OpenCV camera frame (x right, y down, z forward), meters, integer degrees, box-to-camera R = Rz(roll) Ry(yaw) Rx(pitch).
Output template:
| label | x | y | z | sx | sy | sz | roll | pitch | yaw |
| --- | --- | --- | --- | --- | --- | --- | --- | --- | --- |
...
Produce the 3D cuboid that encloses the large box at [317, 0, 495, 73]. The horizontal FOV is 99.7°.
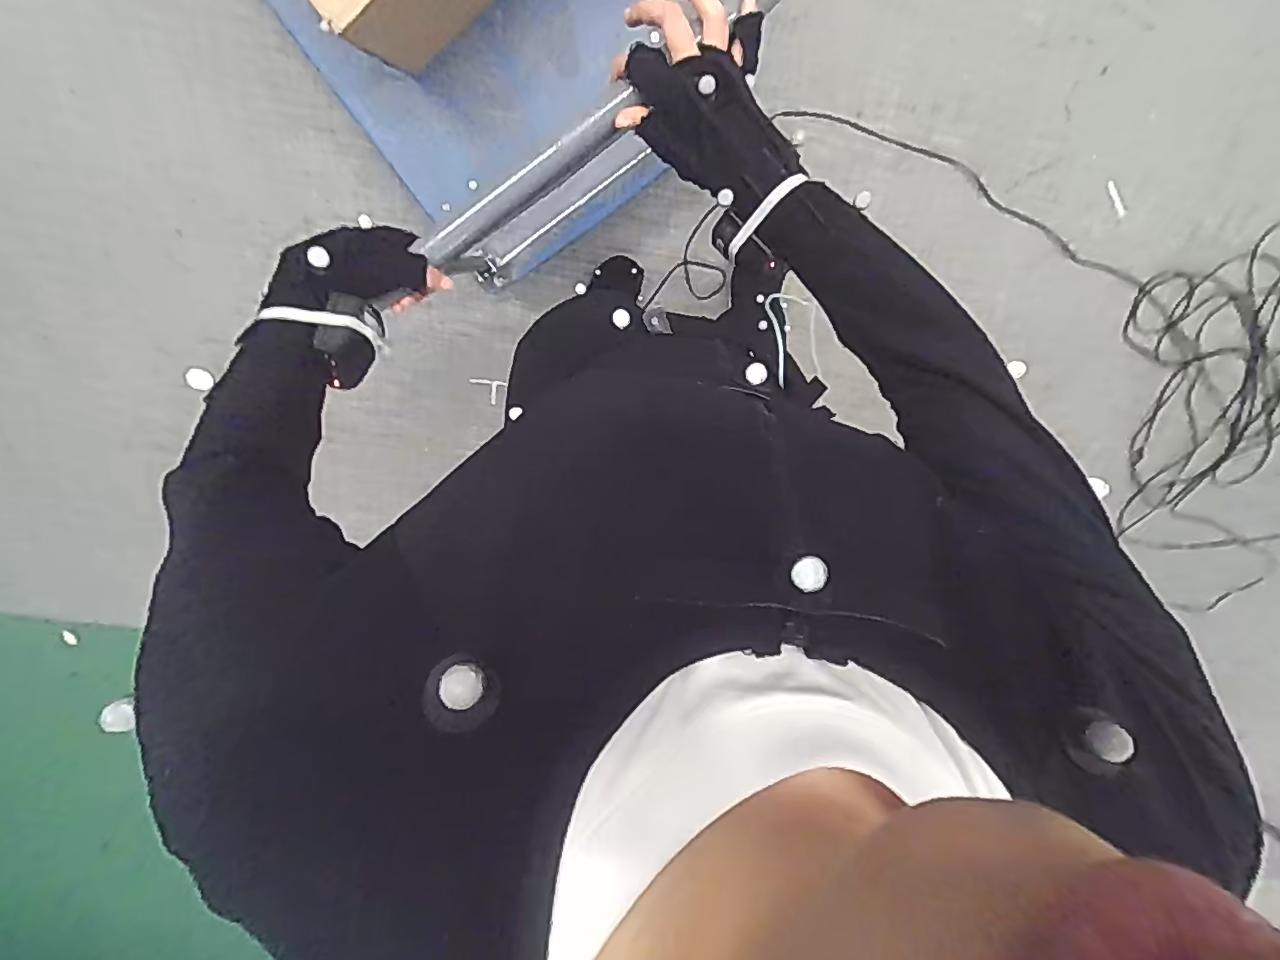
| label | x | y | z | sx | sy | sz | roll | pitch | yaw |
| --- | --- | --- | --- | --- | --- | --- | --- | --- | --- |
| large box | -0.322 | -0.872 | 0.740 | 0.408 | 0.320 | 0.320 | -32 | 113 | 15 |
